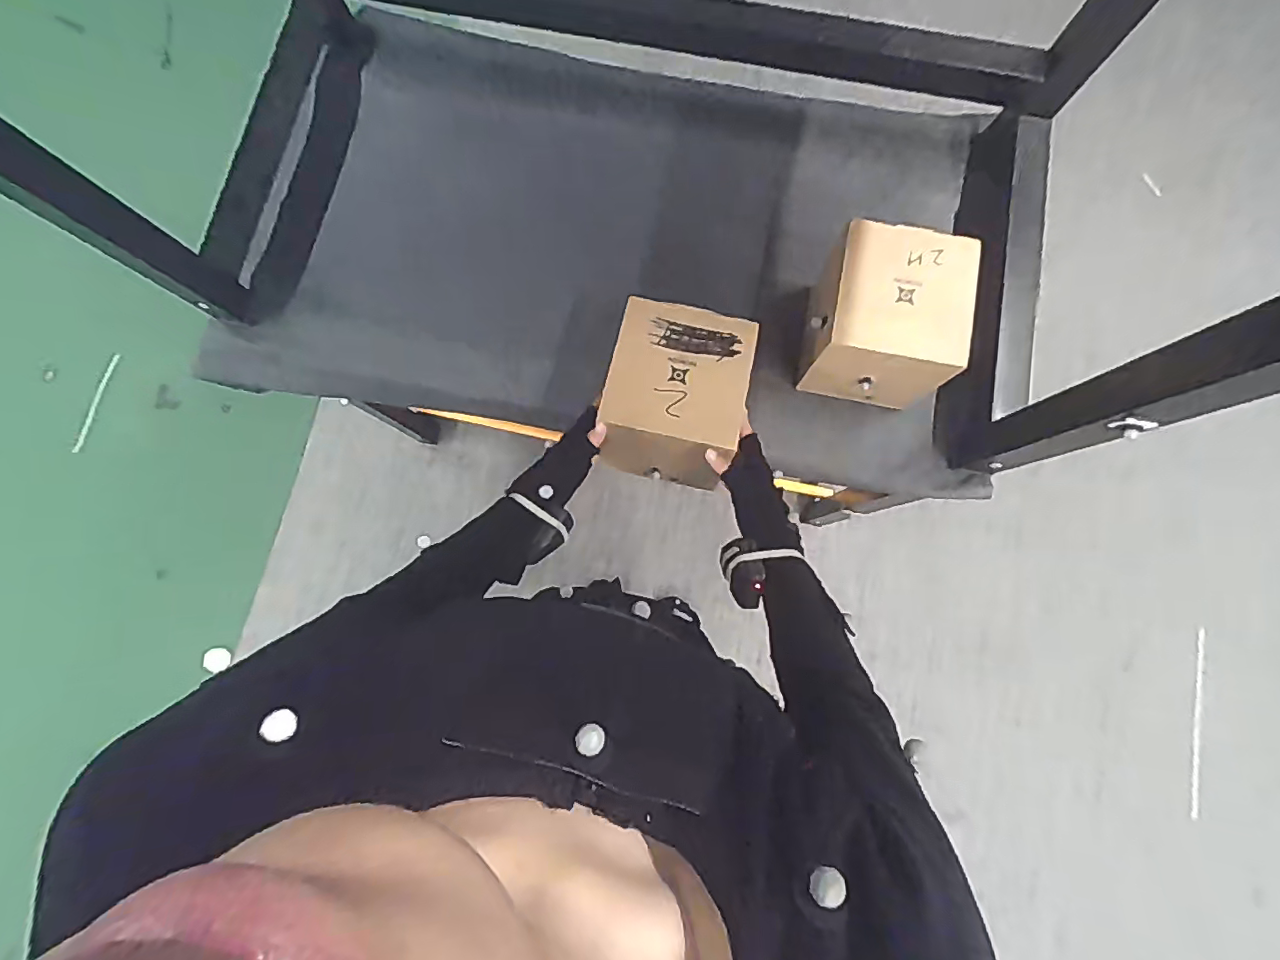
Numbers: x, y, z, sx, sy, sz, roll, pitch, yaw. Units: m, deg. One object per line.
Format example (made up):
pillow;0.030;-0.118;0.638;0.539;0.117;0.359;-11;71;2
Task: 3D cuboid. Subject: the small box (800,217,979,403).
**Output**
small box;0.330;-0.221;0.746;0.168;0.176;0.179;11;80;3
